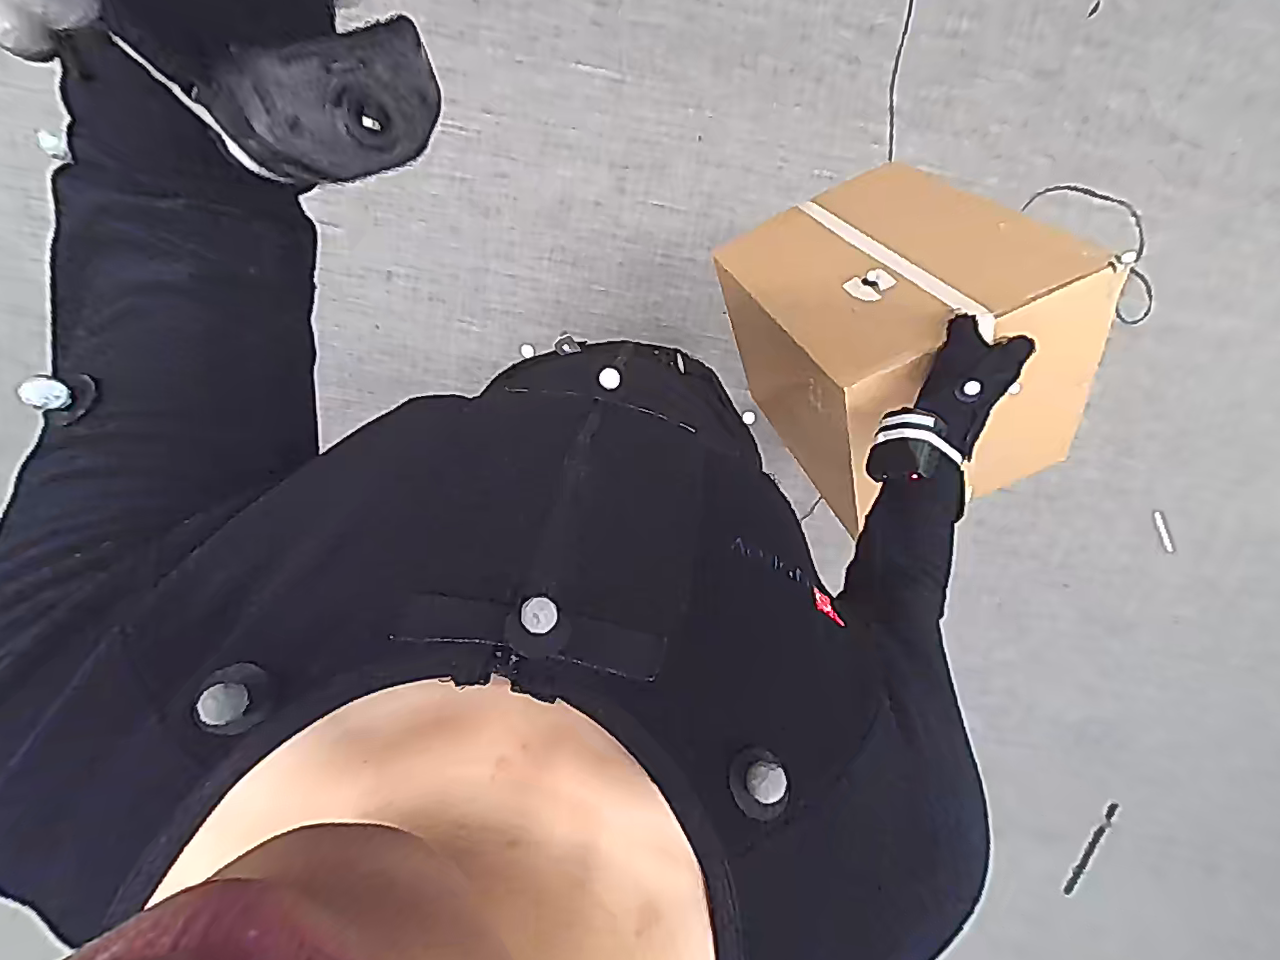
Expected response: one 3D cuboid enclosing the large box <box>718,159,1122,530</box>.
[{"bbox_3d":[0.357,-0.207,0.809,0.320,0.408,0.320,-25,136,5],"label":"large box"}]
